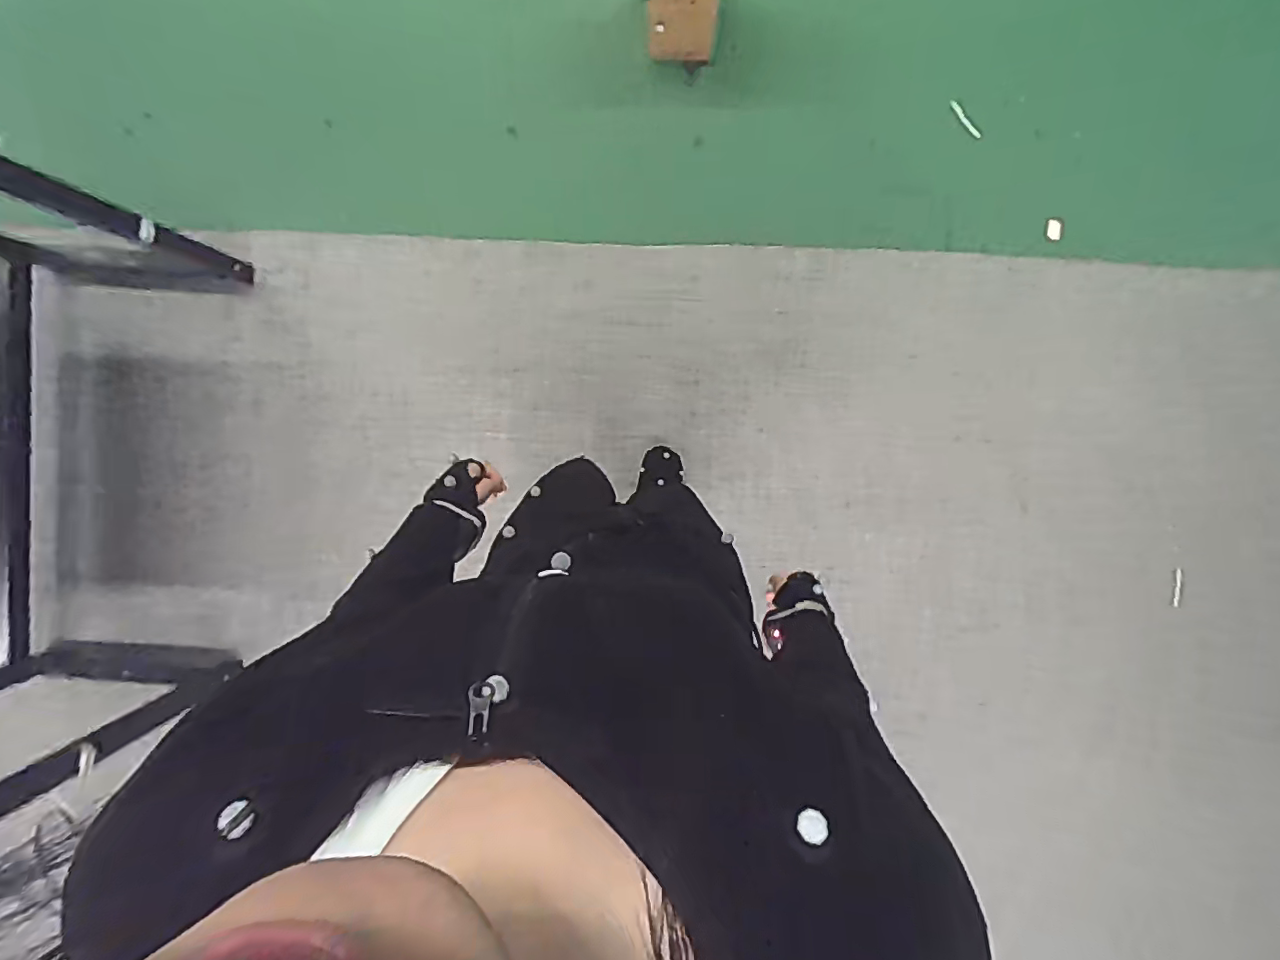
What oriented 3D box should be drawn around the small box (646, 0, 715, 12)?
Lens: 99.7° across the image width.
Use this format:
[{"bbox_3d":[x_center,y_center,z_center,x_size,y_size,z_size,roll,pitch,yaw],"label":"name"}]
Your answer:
[{"bbox_3d":[0.094,-1.169,1.164,0.168,0.176,0.179,2,93,0],"label":"small box"}]
